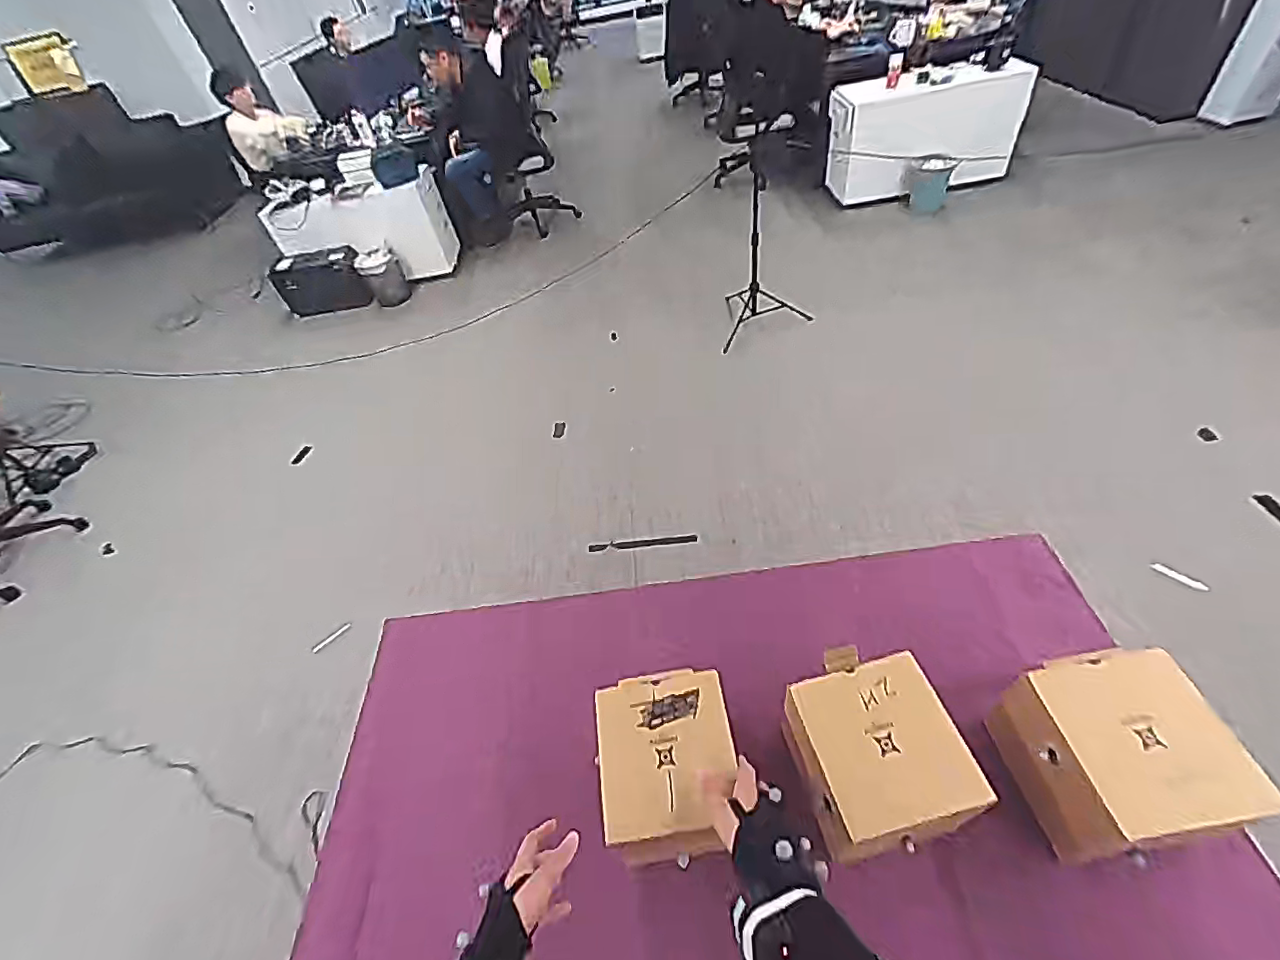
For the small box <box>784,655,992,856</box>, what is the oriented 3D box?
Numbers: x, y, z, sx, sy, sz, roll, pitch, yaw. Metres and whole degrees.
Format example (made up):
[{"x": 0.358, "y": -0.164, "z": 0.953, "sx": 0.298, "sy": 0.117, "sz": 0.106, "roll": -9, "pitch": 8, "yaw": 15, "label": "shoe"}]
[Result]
[{"x": 0.295, "y": 0.356, "z": 0.690, "sx": 0.168, "sy": 0.176, "sz": 0.179, "roll": -14, "pitch": 47, "yaw": -2, "label": "small box"}]

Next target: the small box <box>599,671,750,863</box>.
[{"x": 0.043, "y": 0.382, "z": 0.716, "sx": 0.168, "sy": 0.176, "sz": 0.179, "roll": -11, "pitch": 48, "yaw": 2, "label": "small box"}]

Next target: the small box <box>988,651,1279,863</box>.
[{"x": 0.564, "y": 0.336, "z": 0.655, "sx": 0.168, "sy": 0.176, "sz": 0.179, "roll": -11, "pitch": 46, "yaw": 2, "label": "small box"}]
